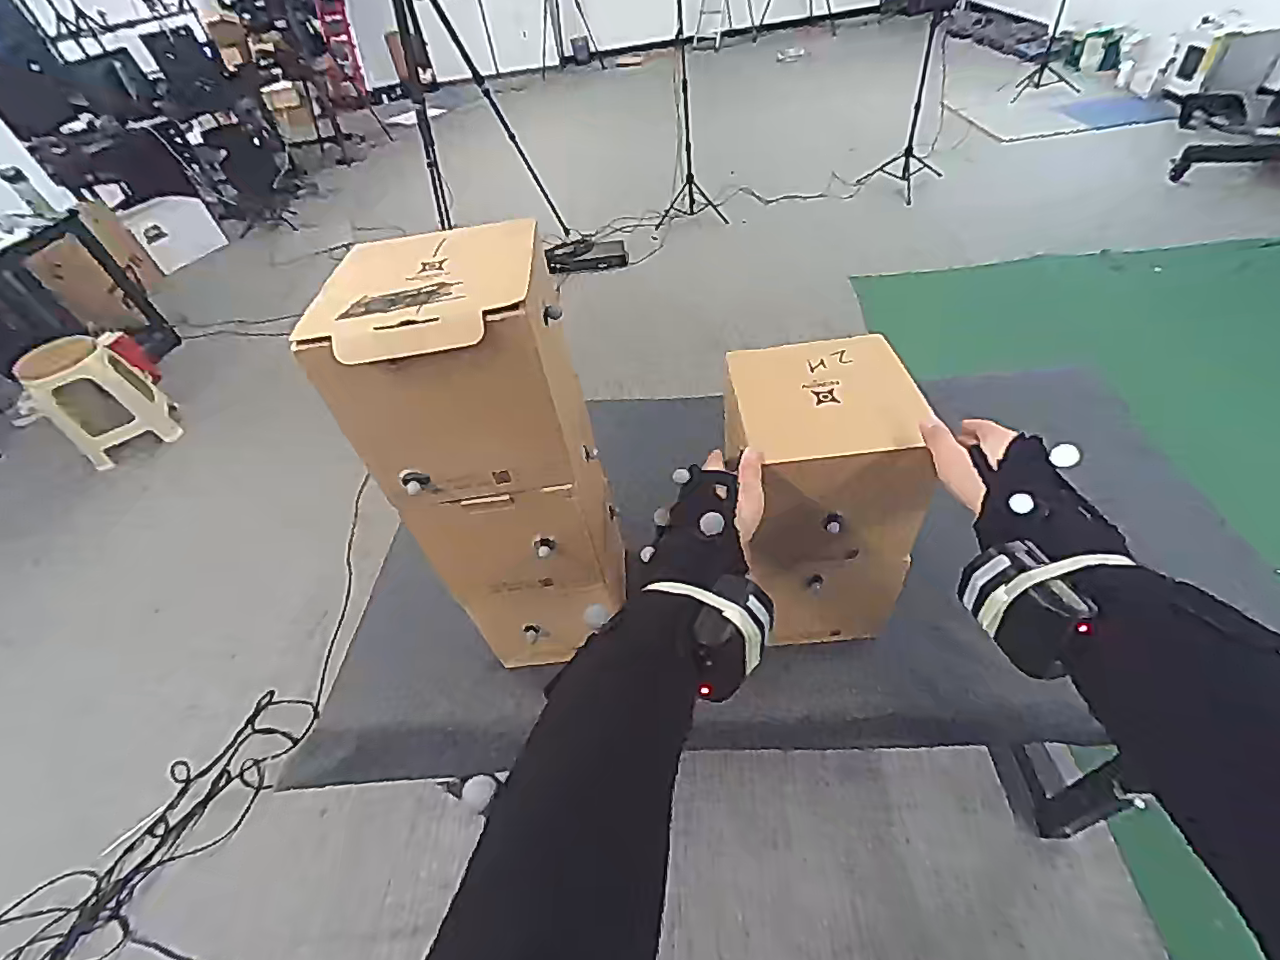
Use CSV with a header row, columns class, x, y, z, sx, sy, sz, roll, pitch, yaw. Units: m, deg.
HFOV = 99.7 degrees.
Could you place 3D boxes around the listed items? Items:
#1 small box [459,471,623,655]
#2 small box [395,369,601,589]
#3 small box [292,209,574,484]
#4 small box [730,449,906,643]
class,x,y,z,sx,sy,sz,roll,pitch,yaw
small box,-0.115,0.115,0.709,0.168,0.176,0.179,-7,45,2
small box,-0.135,0.005,0.591,0.168,0.176,0.179,-7,44,1
small box,-0.153,-0.110,0.475,0.168,0.176,0.179,-8,45,0
small box,0.206,0.084,0.687,0.168,0.176,0.179,-5,45,4
